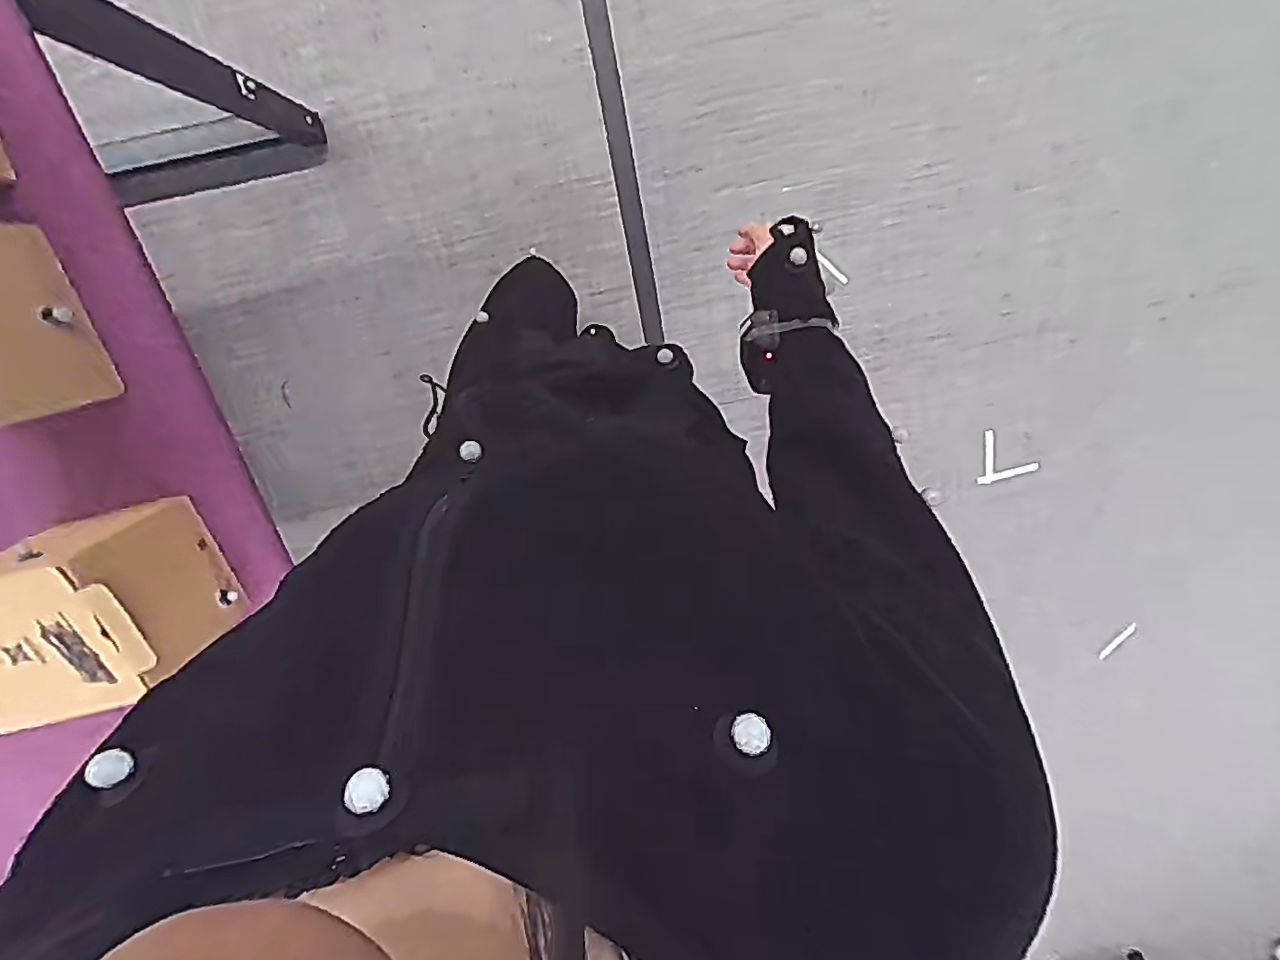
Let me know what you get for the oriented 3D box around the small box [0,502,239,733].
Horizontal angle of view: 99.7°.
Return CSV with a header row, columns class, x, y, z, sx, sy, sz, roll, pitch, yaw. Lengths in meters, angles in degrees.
class,x,y,z,sx,sy,sz,roll,pitch,yaw
small box,-0.599,0.141,0.603,0.179,0.176,0.168,-14,111,2
